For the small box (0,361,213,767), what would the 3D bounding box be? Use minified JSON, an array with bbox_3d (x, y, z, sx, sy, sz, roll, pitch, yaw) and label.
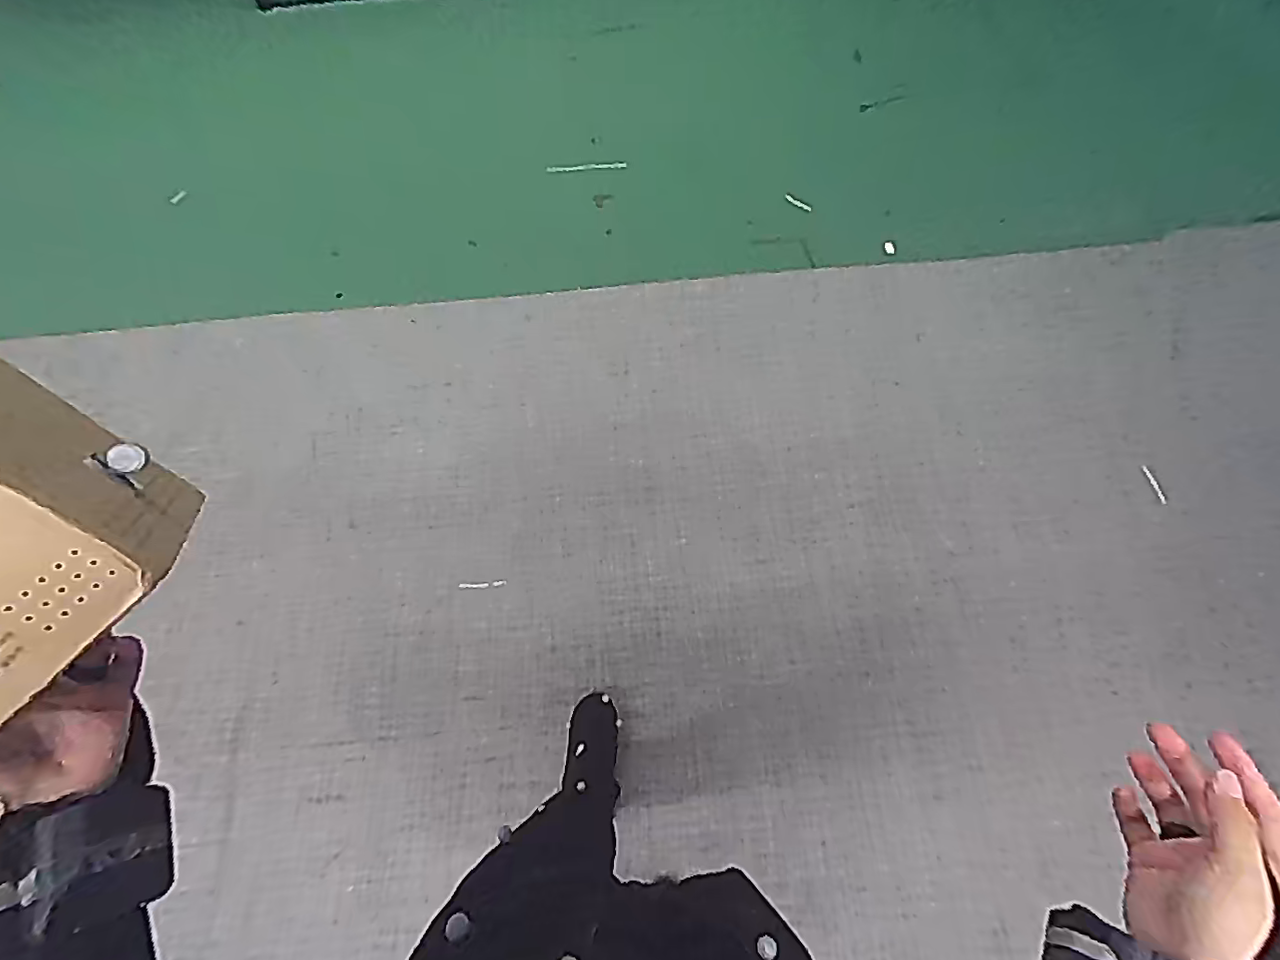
[{"bbox_3d":[-0.322,0.037,0.222,0.168,0.176,0.179,-52,32,-17],"label":"small box"}]
